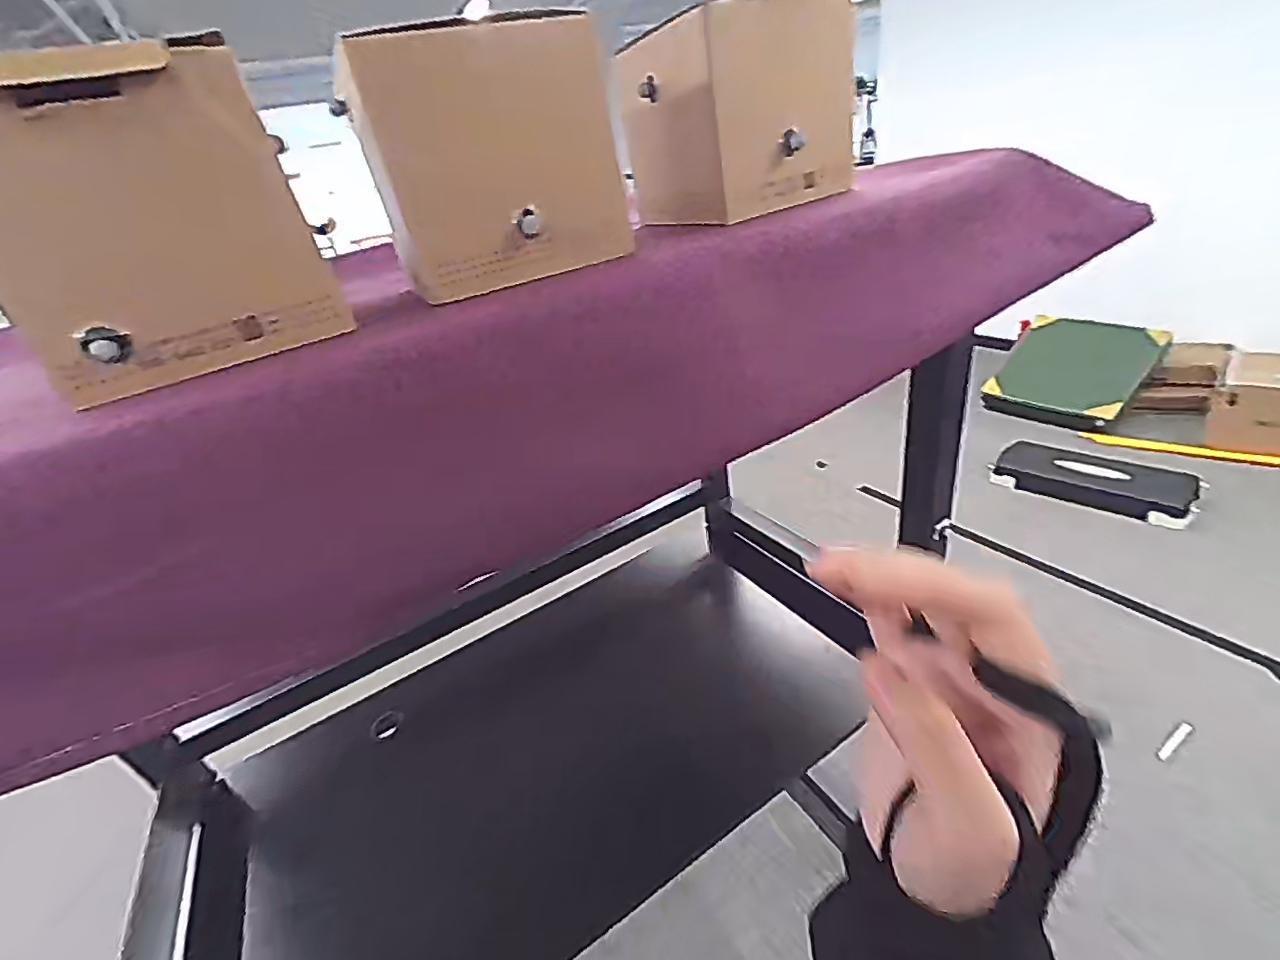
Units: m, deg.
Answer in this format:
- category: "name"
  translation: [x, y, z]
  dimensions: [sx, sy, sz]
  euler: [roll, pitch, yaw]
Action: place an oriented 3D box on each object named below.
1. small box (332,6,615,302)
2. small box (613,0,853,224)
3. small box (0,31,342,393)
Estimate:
- category: "small box"
  translation: [-0.132, -0.262, 0.455]
  dimensions: [0.179, 0.176, 0.168]
  euler: [-22, 31, -19]
- category: "small box"
  translation: [0.093, -0.370, 0.557]
  dimensions: [0.168, 0.176, 0.179]
  euler: [-24, 32, -19]
- category: "small box"
  translation: [-0.330, -0.172, 0.372]
  dimensions: [0.168, 0.176, 0.179]
  euler: [-27, 32, -25]
